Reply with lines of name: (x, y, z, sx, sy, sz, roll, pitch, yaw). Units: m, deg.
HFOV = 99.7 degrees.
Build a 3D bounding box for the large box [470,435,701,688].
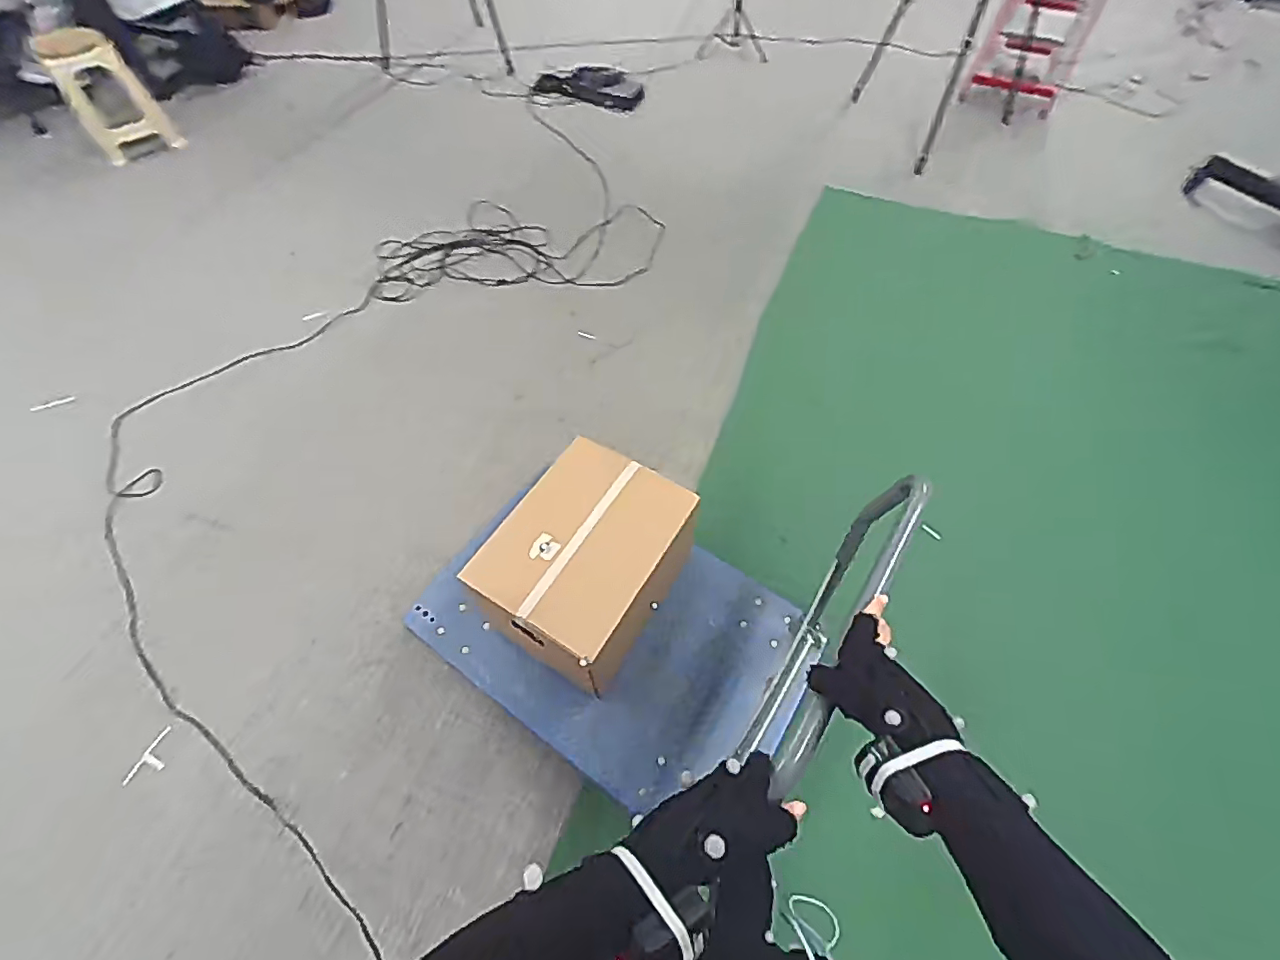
large box: (-0.099, 0.183, 1.211, 0.320, 0.320, 0.408, 27, 62, 17)
